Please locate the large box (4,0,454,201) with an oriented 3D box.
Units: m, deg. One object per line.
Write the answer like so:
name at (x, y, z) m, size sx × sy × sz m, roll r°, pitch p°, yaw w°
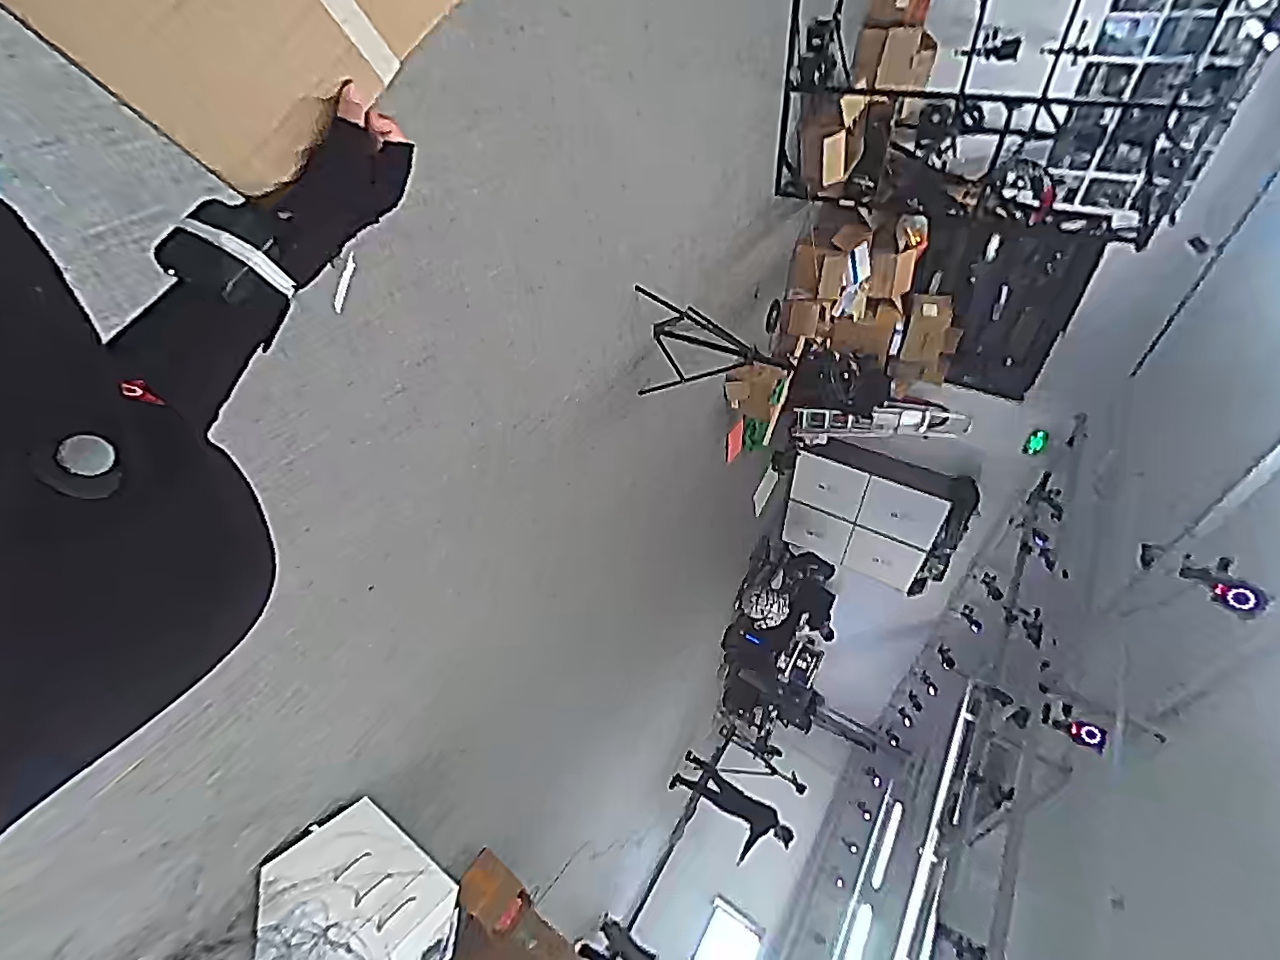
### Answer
large box at (-0.385, -0.492, 0.352) m, size 0.320 × 0.320 × 0.408 m, roll -49°, pitch 153°, yaw -1°
